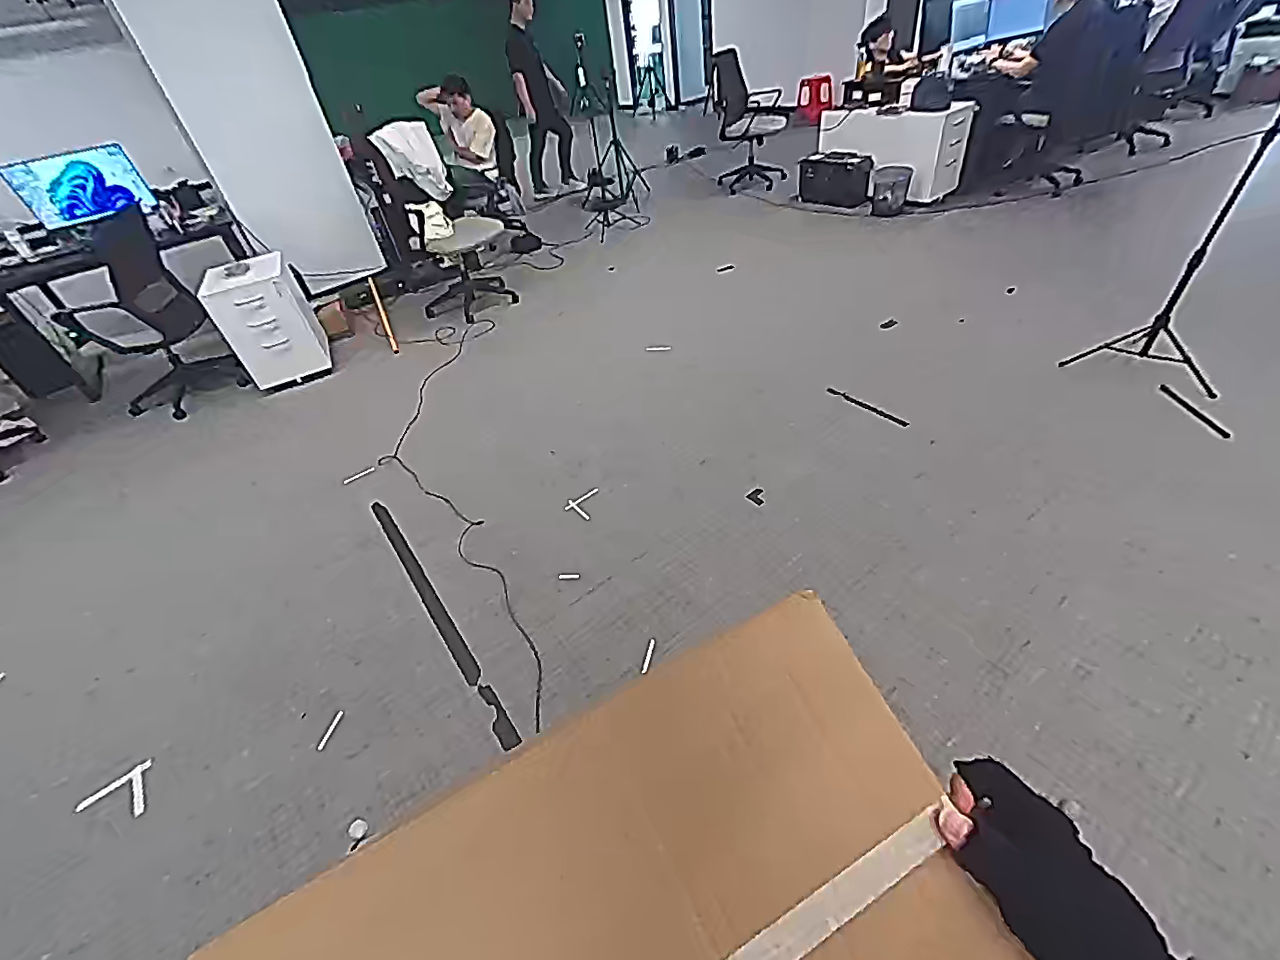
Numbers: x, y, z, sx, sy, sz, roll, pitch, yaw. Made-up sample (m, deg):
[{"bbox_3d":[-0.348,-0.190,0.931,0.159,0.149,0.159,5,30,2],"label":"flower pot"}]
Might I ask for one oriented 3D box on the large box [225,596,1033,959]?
[{"bbox_3d":[0.003,0.349,0.436,0.408,0.320,0.320,-27,74,-14],"label":"large box"}]
